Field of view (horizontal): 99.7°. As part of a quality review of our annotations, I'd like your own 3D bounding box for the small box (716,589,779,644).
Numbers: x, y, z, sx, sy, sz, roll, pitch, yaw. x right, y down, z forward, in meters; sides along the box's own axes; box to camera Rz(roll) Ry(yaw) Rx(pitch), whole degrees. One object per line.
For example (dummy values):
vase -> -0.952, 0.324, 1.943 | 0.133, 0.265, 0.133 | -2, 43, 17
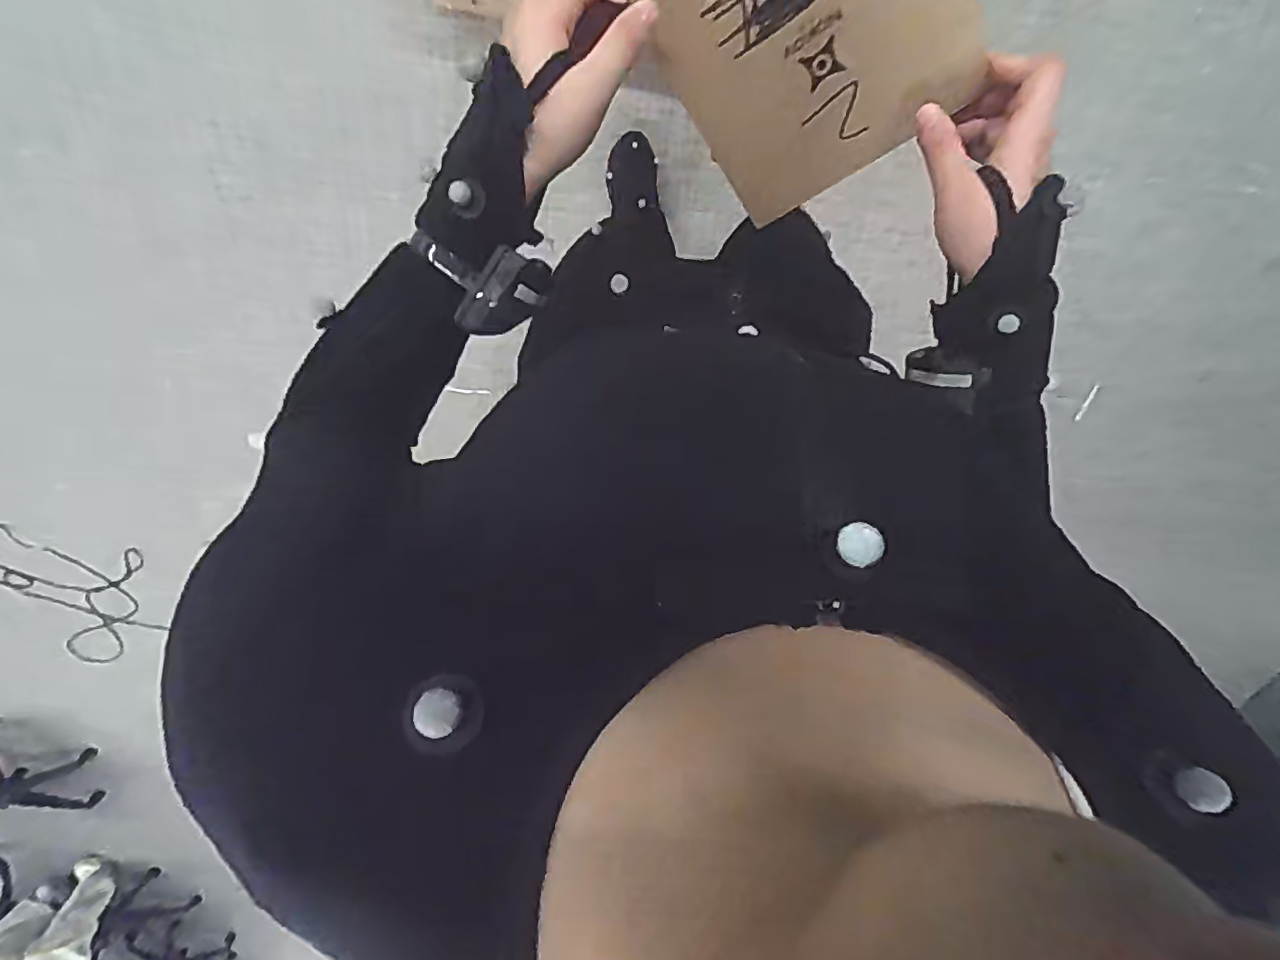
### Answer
small box -> 0.366, 0.500, 1.882 | 0.168, 0.176, 0.179 | 5, 122, -4
